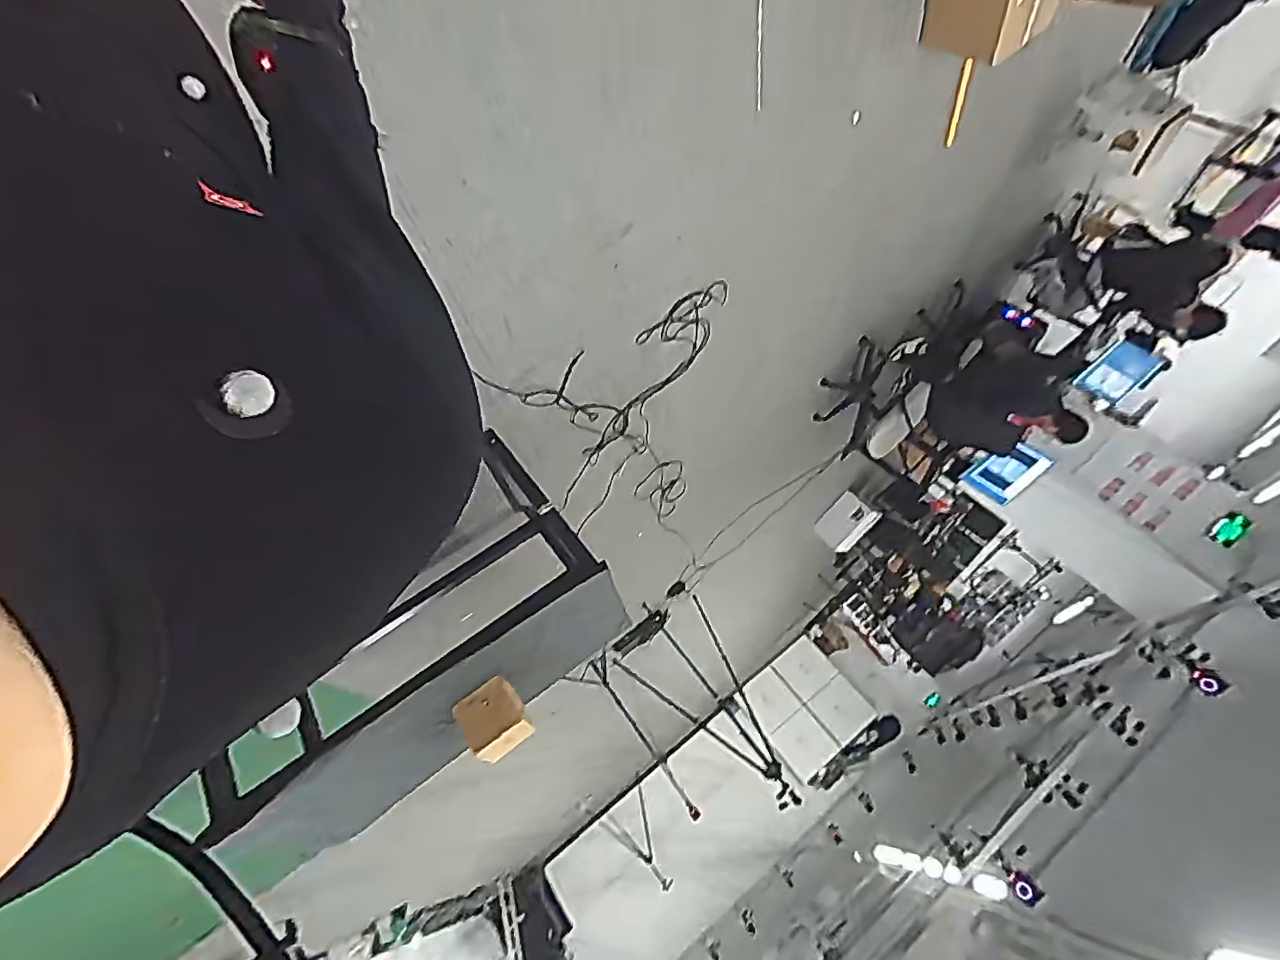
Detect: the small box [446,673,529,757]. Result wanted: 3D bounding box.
[{"bbox_3d":[-0.477,0.734,1.698,0.168,0.176,0.179,-34,149,-16],"label":"small box"}]
